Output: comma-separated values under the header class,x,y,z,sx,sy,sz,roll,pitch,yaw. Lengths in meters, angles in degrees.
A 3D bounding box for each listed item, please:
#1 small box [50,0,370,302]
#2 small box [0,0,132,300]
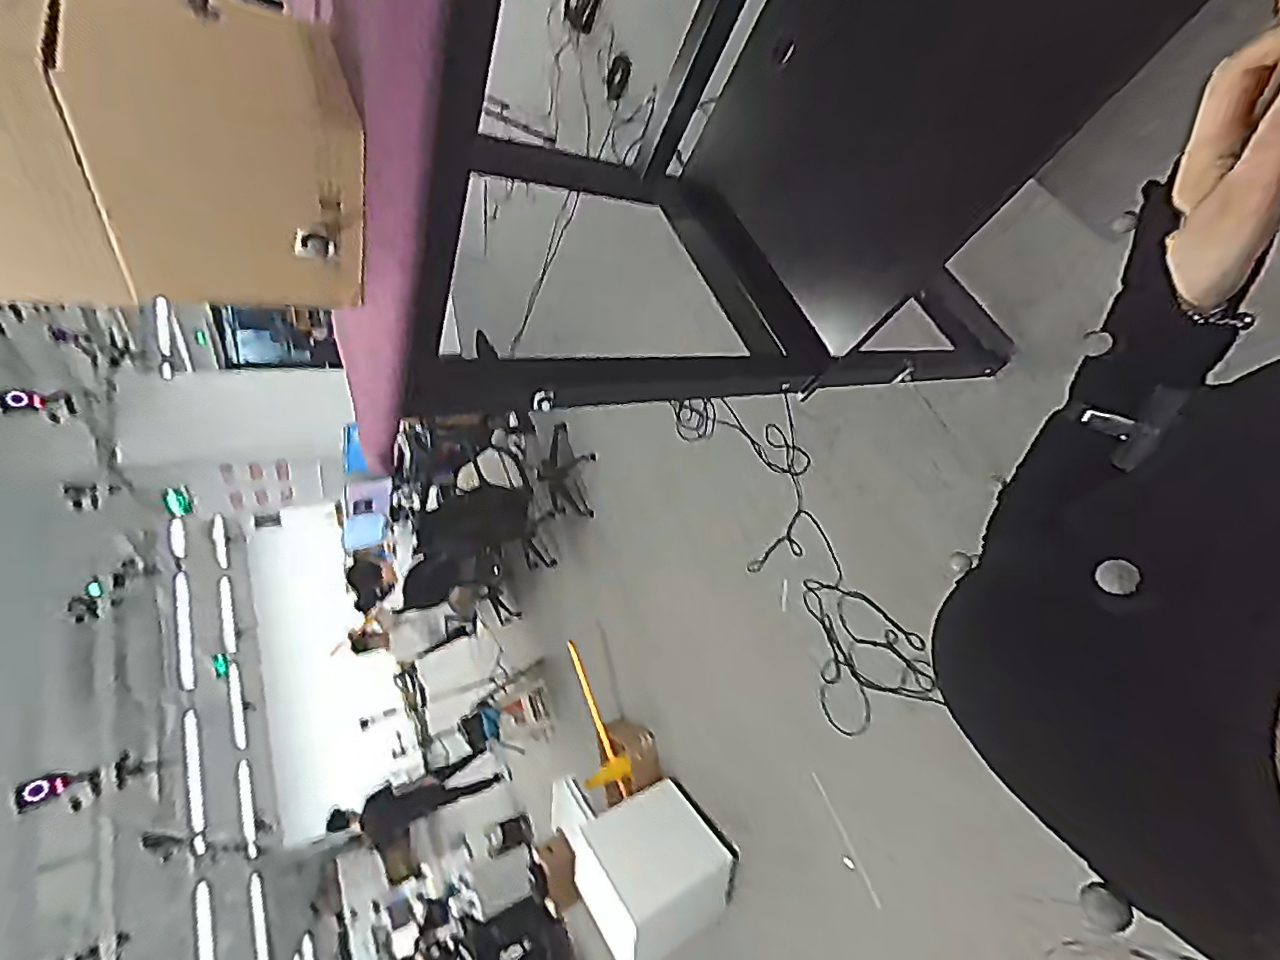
class,x,y,z,sx,sy,sz,roll,pitch,yaw
small box,-0.334,-0.264,0.449,0.179,0.176,0.168,62,144,25
small box,-0.475,-0.239,0.366,0.168,0.176,0.179,62,144,26
